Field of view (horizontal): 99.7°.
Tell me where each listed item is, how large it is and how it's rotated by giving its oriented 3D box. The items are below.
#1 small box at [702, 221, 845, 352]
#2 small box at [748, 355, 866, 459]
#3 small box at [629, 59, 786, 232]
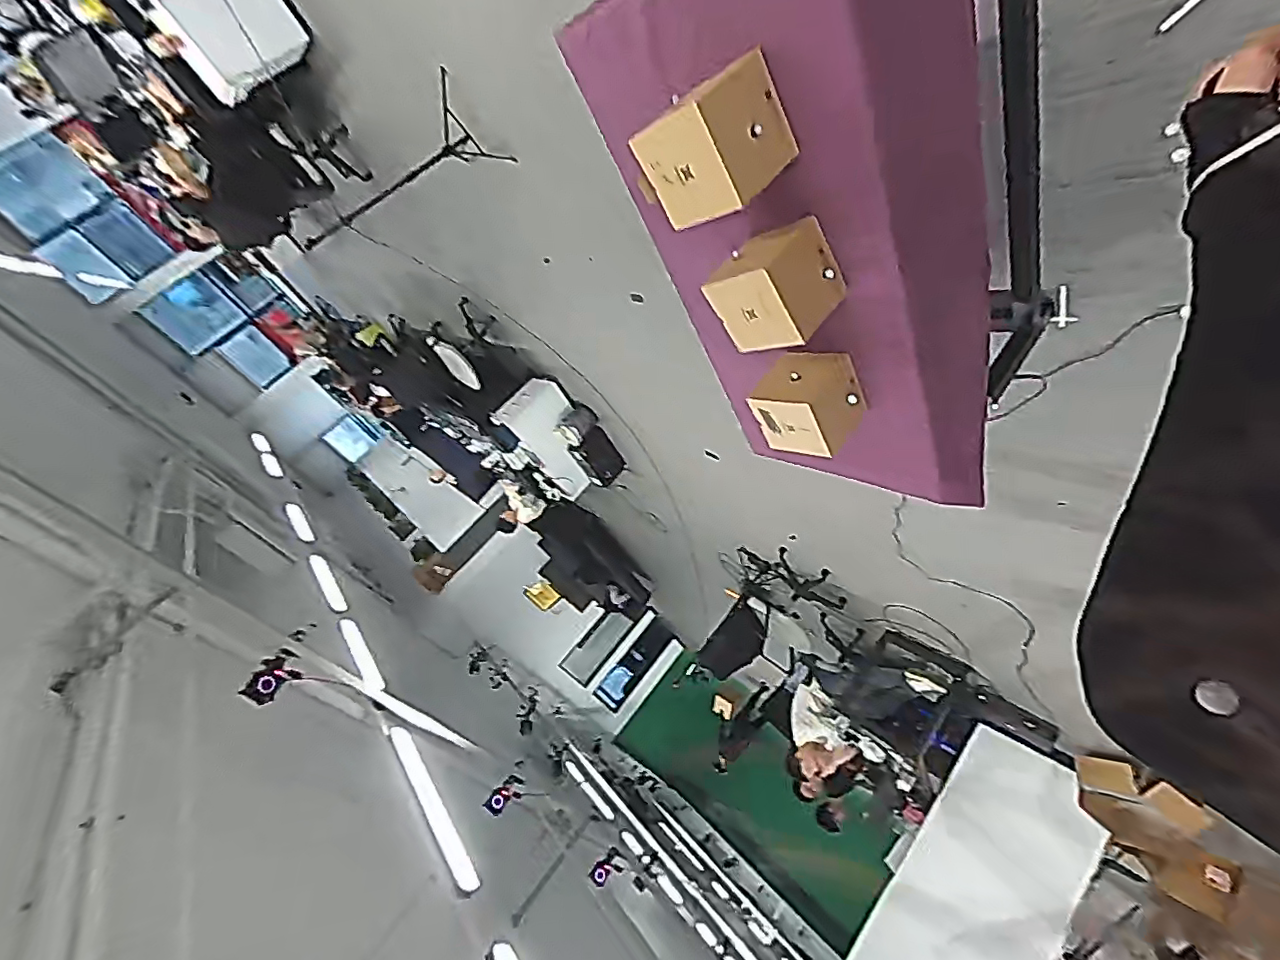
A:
[{"bbox_3d":[0.263,-0.373,1.063,0.168,0.176,0.179,50,162,-27],"label":"small box"},{"bbox_3d":[0.392,-0.177,1.260,0.179,0.176,0.168,18,152,52],"label":"small box"},{"bbox_3d":[0.122,-0.557,0.913,0.179,0.176,0.168,18,151,54],"label":"small box"}]
